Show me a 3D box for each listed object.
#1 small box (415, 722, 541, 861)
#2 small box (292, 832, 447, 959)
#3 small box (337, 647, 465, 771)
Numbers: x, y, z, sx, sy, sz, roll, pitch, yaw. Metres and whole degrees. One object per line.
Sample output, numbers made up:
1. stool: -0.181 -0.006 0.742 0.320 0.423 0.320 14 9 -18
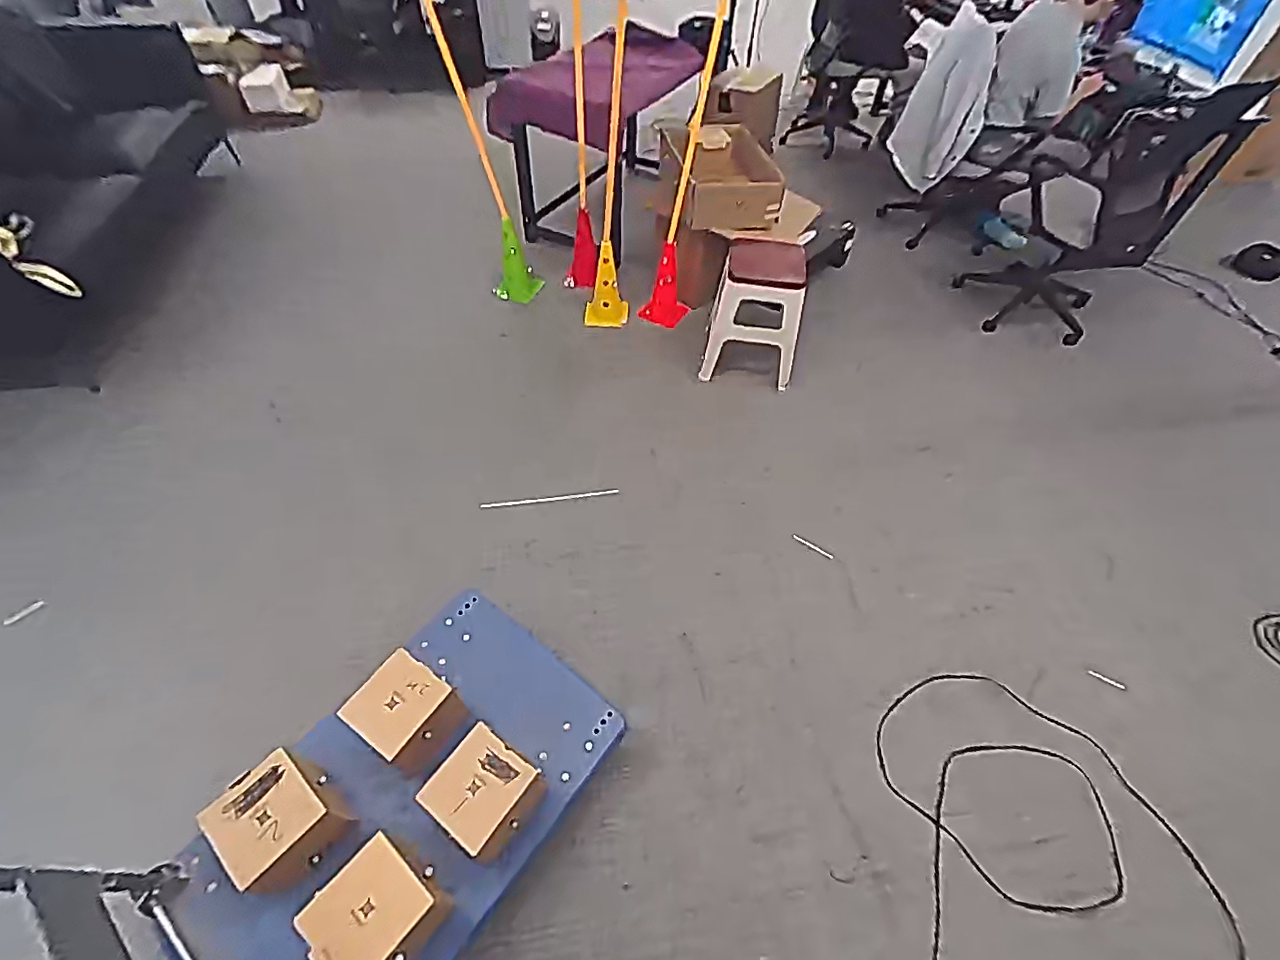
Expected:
1. small box: -0.319 0.641 1.111 0.168 0.176 0.179 30 58 21
2. small box: -0.479 0.790 0.992 0.168 0.176 0.179 34 59 22
3. small box: -0.520 0.513 1.202 0.168 0.176 0.179 29 57 19
